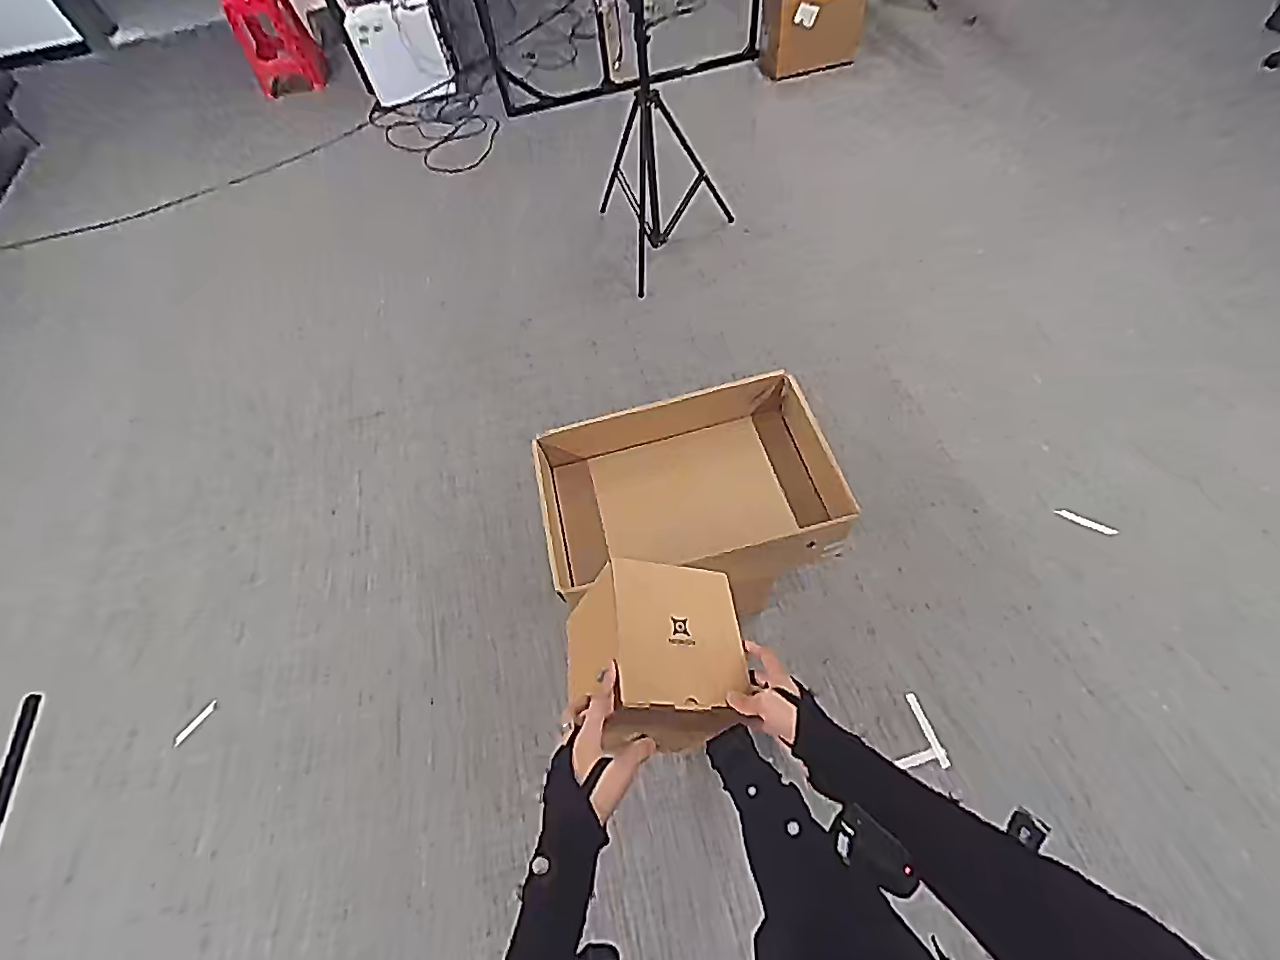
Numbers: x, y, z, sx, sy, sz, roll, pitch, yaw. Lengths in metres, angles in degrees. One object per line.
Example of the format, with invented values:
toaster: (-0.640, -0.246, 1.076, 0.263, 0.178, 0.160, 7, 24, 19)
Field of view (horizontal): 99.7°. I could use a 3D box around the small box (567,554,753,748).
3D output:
small box: (0.012, 0.220, 0.680, 0.168, 0.176, 0.179, 12, 48, -22)
